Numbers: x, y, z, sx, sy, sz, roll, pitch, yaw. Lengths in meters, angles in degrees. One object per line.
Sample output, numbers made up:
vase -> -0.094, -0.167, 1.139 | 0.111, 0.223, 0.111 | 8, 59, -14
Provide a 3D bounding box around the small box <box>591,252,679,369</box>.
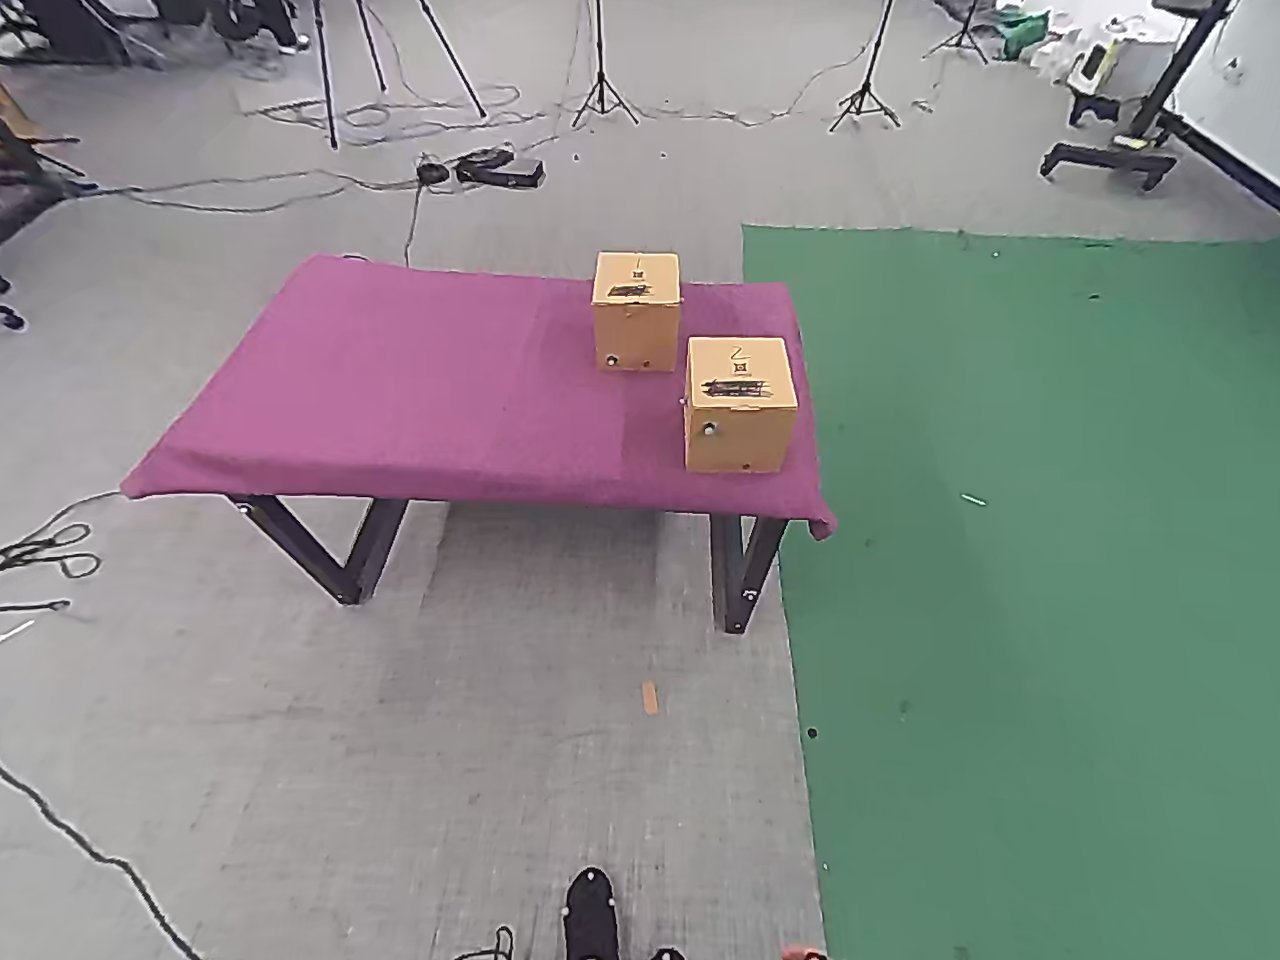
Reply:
small box -> -0.005, -0.347, 1.116 | 0.168, 0.176, 0.179 | 2, 52, 1
